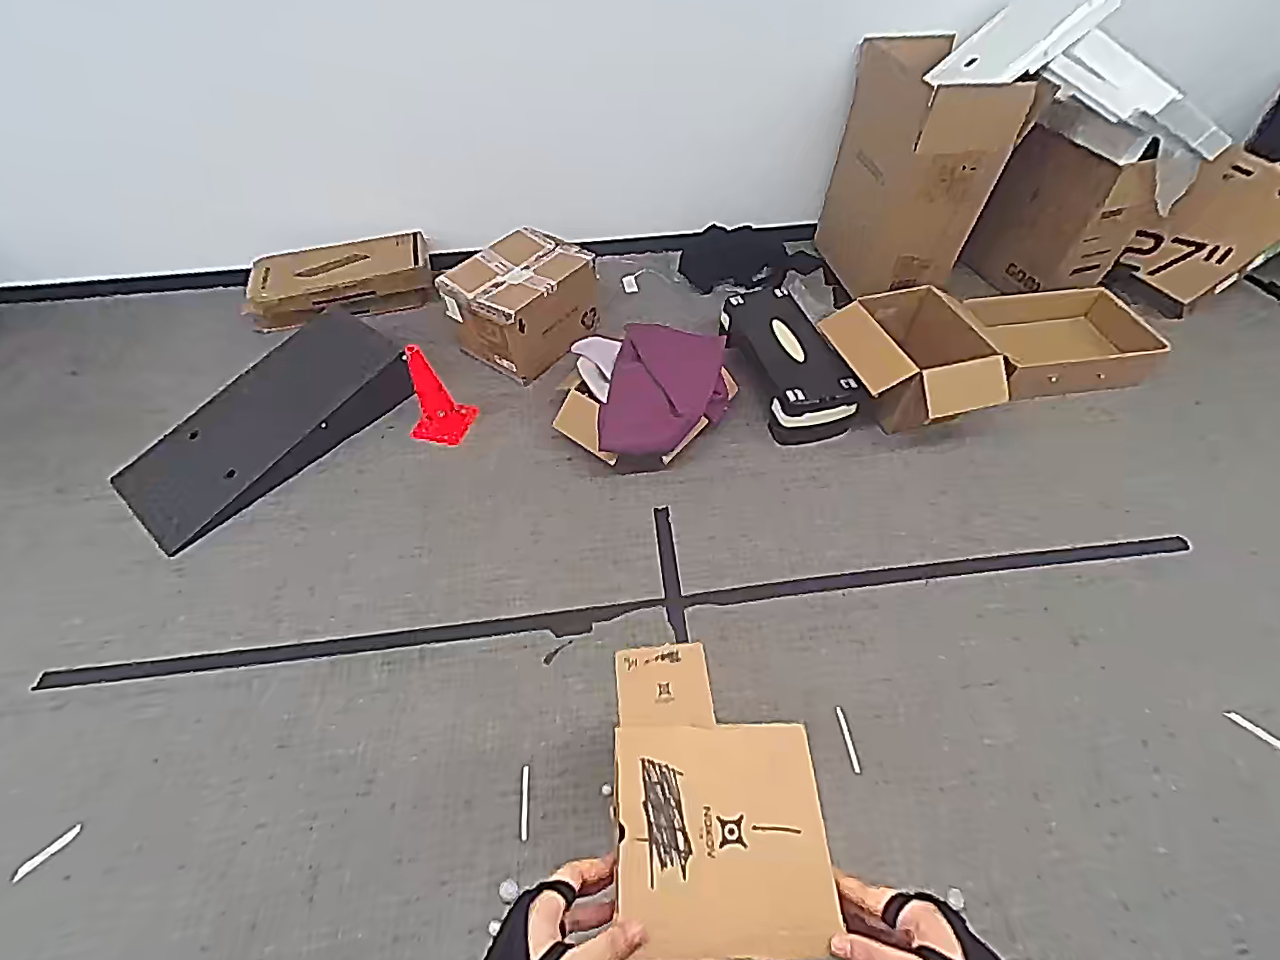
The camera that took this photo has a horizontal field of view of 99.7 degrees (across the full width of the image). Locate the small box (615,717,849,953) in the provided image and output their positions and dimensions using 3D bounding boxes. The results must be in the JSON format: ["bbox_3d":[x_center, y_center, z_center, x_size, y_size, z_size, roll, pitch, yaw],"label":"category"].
[{"bbox_3d":[0.066,0.332,0.507,0.179,0.176,0.168,1,52,-3],"label":"small box"}]

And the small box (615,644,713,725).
[{"bbox_3d":[0.045,0.425,1.007,0.168,0.176,0.179,-5,53,-2],"label":"small box"}]
